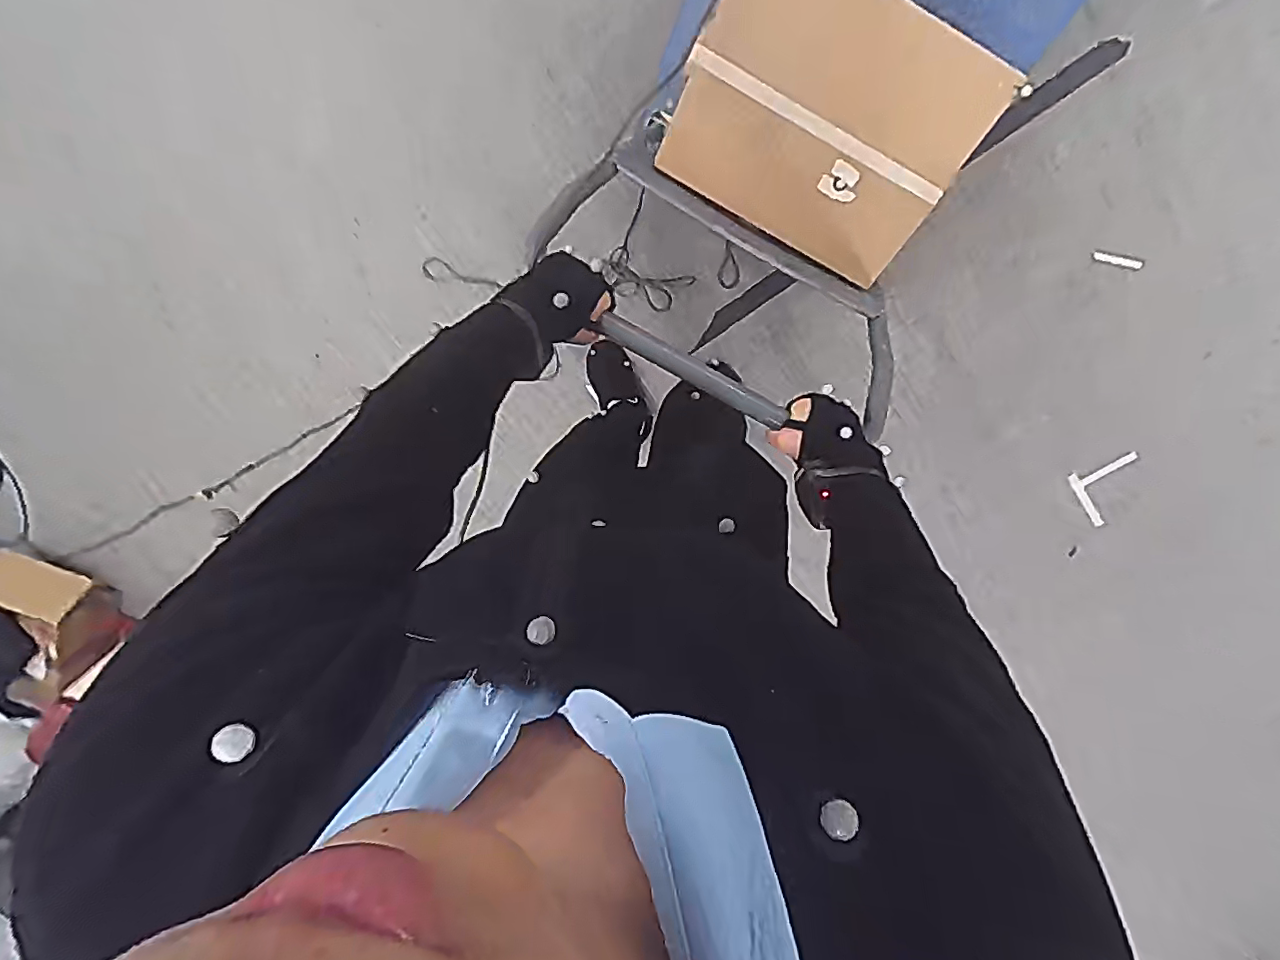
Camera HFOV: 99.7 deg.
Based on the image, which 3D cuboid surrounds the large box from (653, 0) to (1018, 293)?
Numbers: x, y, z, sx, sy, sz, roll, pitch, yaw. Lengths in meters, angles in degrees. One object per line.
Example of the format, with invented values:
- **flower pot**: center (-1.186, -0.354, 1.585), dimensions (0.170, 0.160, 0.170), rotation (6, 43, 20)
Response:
- **large box**: center (0.285, -0.581, 0.887), dimensions (0.408, 0.320, 0.320), rotation (27, 130, -6)
